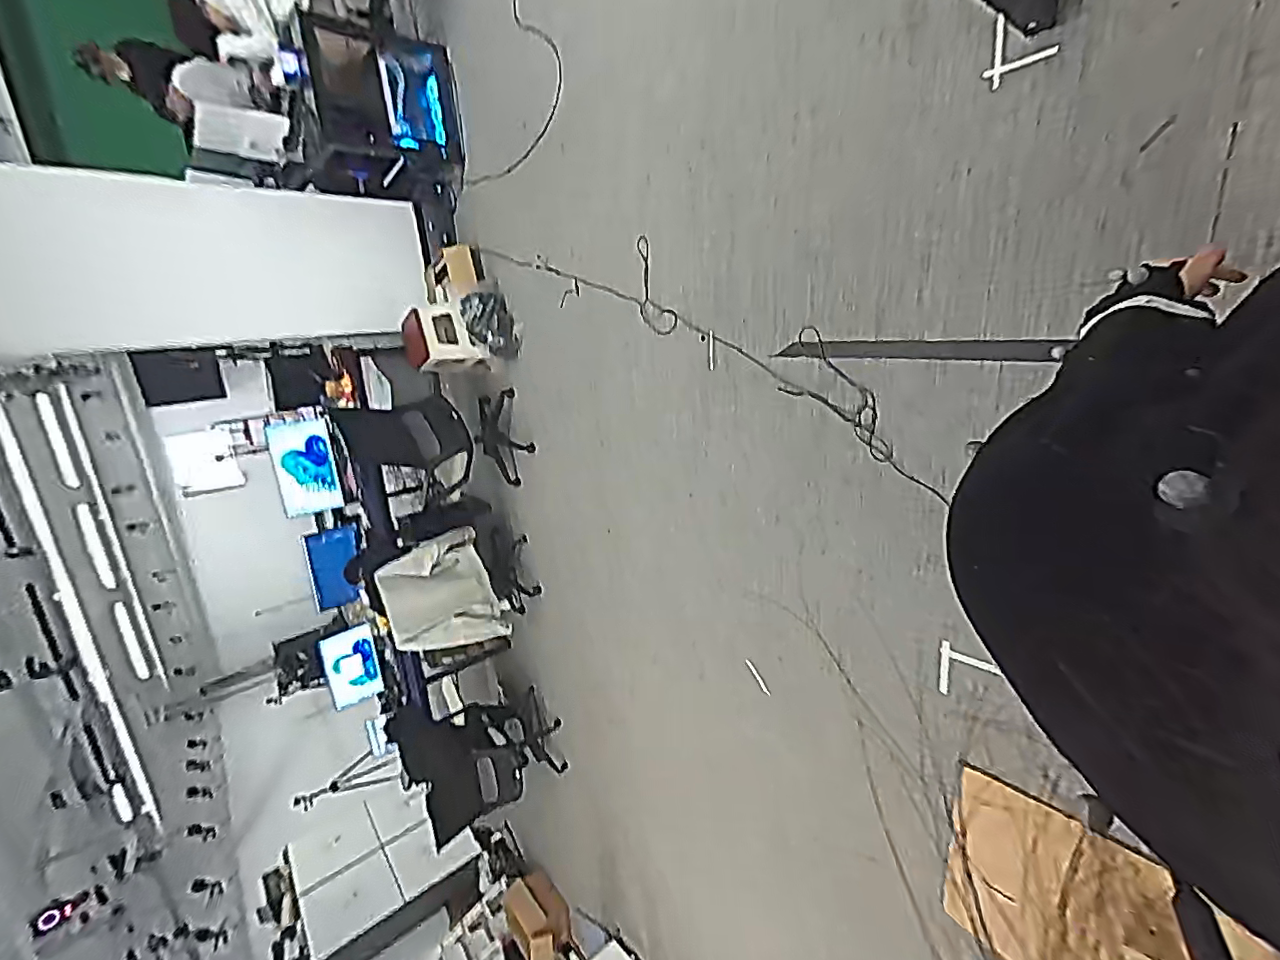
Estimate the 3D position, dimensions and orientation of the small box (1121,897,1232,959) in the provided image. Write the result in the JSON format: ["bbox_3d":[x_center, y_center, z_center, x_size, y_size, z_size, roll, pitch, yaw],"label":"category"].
[{"bbox_3d":[1.221,1.123,1.238,0.168,0.176,0.179,12,113,50],"label":"small box"}]
